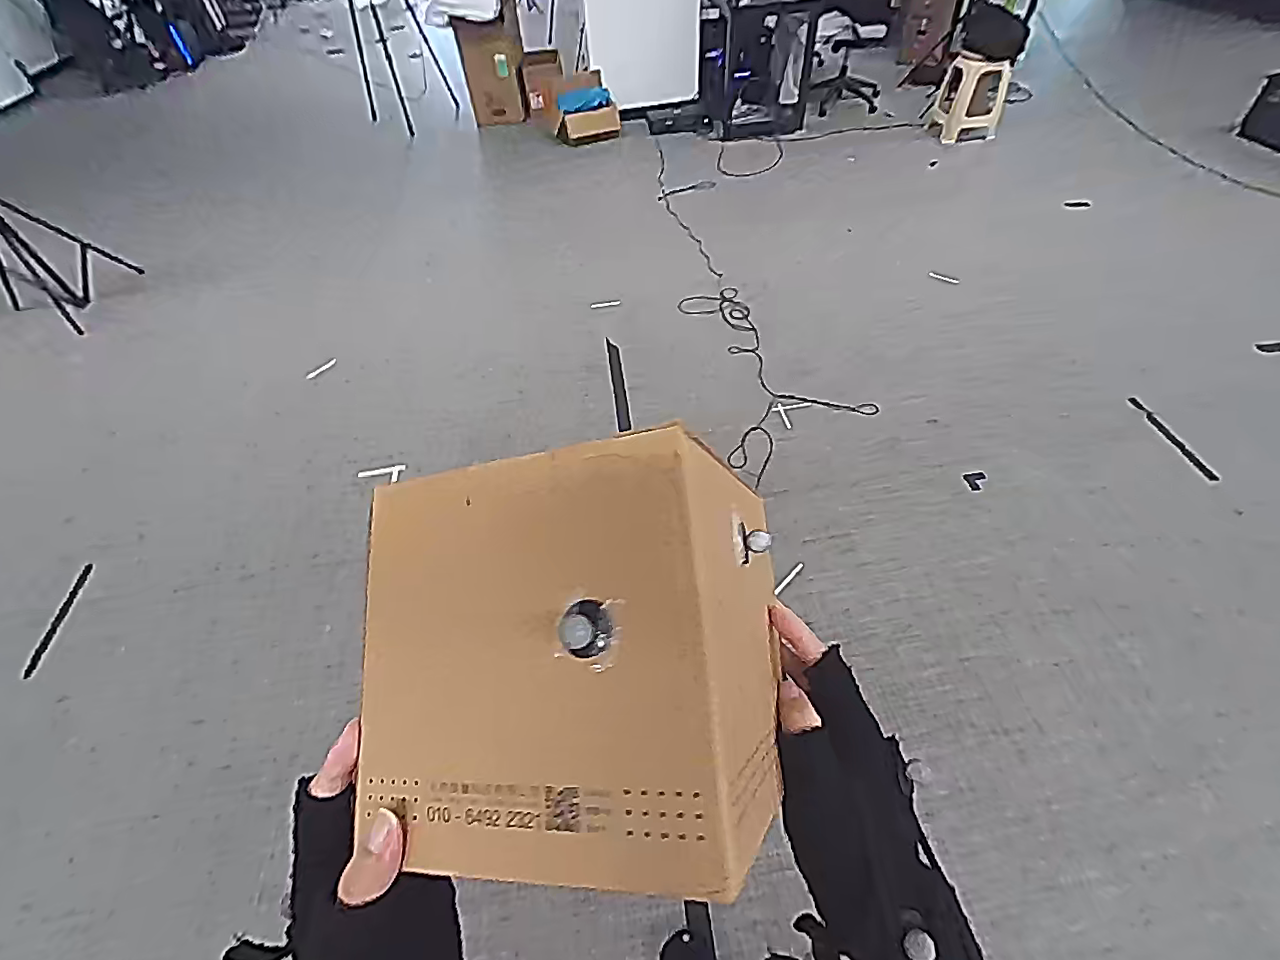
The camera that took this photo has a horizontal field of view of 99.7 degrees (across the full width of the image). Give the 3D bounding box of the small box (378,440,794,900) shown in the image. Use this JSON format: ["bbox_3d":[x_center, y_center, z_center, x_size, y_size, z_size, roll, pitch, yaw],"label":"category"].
[{"bbox_3d":[-0.016,0.093,0.298,0.168,0.179,0.176,-9,75,20],"label":"small box"}]
